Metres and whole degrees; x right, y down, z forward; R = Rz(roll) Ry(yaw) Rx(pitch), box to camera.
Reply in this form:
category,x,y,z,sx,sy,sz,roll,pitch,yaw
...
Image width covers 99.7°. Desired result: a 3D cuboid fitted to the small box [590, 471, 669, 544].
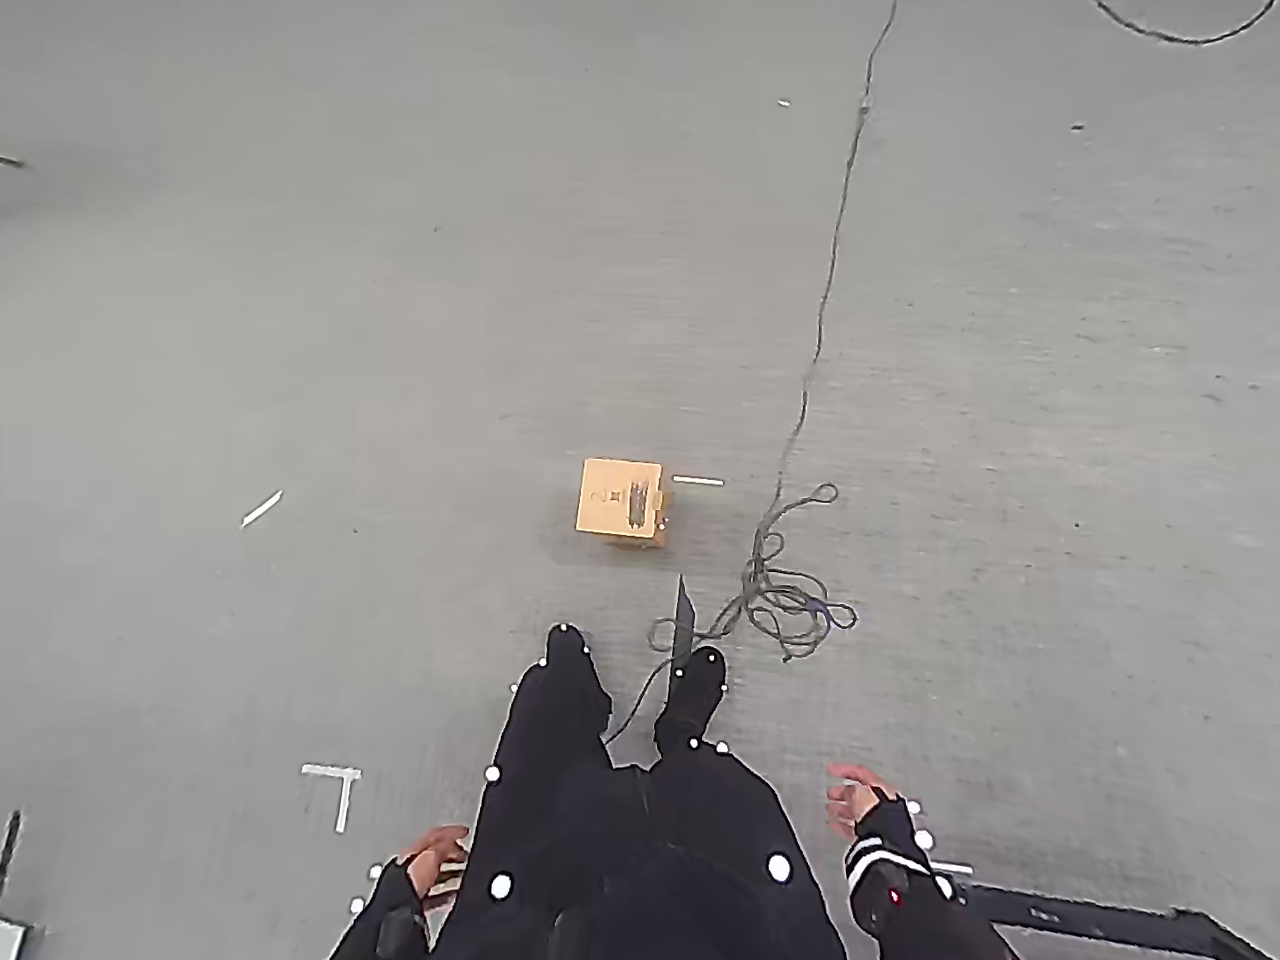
category,x,y,z,sx,sy,sz,roll,pitch,yaw
small box,-0.021,0.077,1.416,0.179,0.176,0.168,4,80,8
